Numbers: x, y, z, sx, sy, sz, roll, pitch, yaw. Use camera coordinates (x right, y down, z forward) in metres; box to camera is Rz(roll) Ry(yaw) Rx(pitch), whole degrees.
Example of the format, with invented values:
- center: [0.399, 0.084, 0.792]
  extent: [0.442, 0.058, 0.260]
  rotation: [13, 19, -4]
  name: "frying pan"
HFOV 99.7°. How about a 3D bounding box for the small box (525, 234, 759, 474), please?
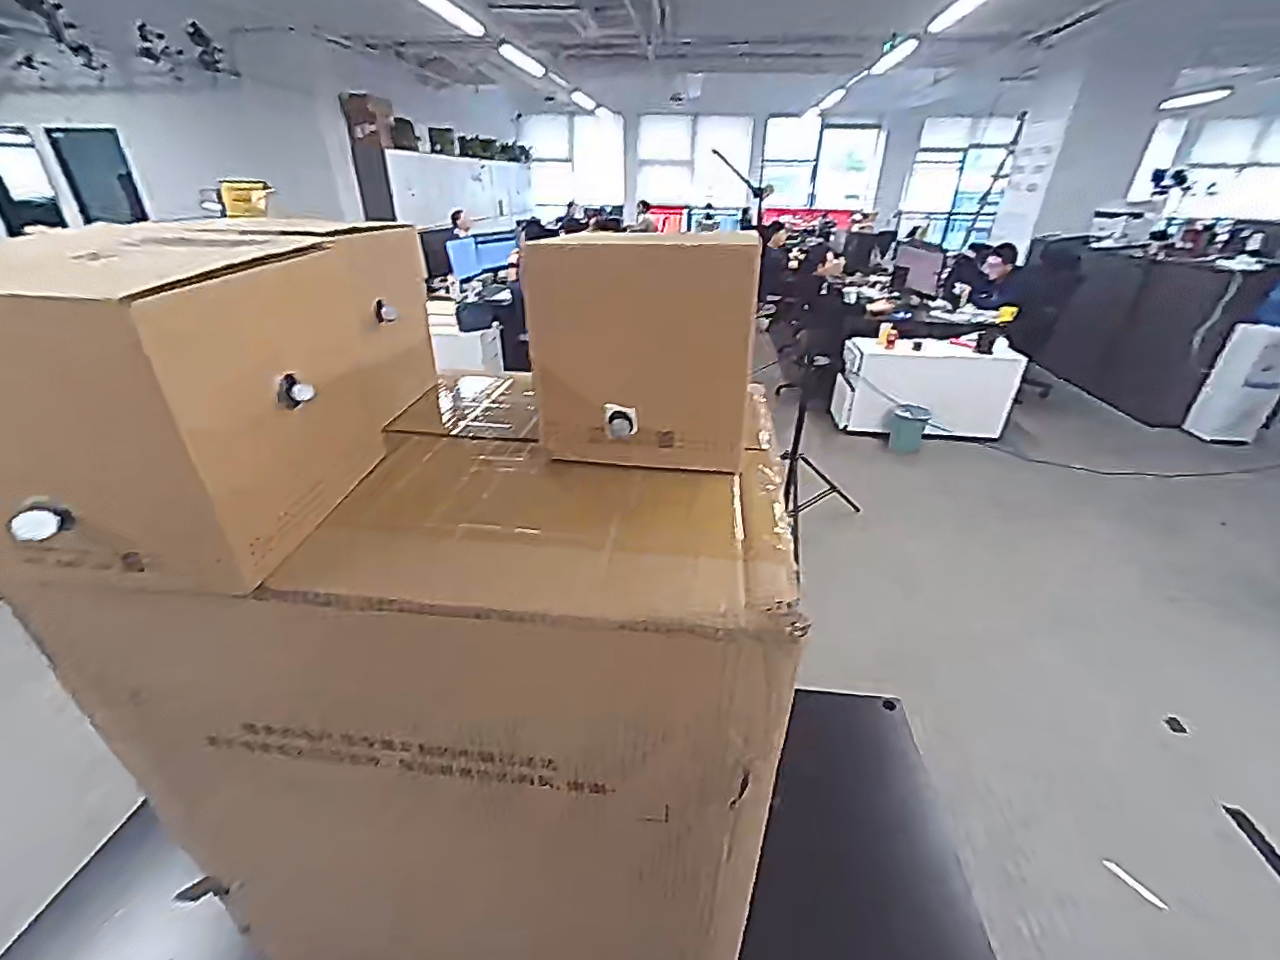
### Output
- center: [0.012, -0.120, 0.474]
  extent: [0.168, 0.176, 0.179]
  rotation: [3, 28, 8]
  name: "small box"
